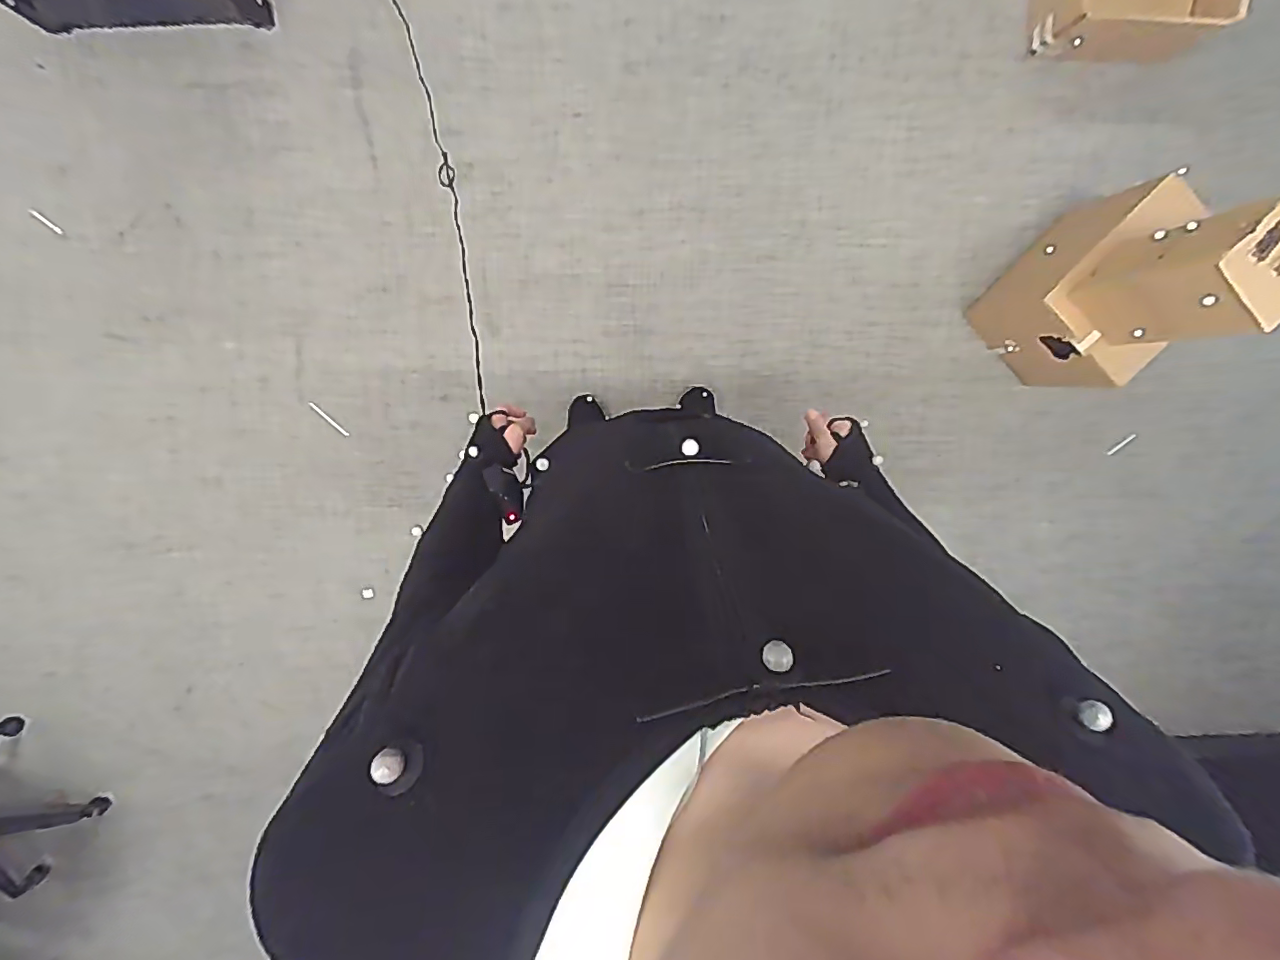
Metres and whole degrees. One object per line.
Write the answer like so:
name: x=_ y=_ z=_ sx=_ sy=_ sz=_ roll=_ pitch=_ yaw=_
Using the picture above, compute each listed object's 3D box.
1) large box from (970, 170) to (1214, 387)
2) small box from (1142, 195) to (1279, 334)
large box: x=1.202 y=-0.496 z=1.434 sx=0.320 sy=0.320 sz=0.408 roll=42 pitch=95 yaw=-9
small box: x=1.137 y=-0.398 z=1.033 sx=0.179 sy=0.176 sz=0.168 roll=44 pitch=96 yaw=-9
